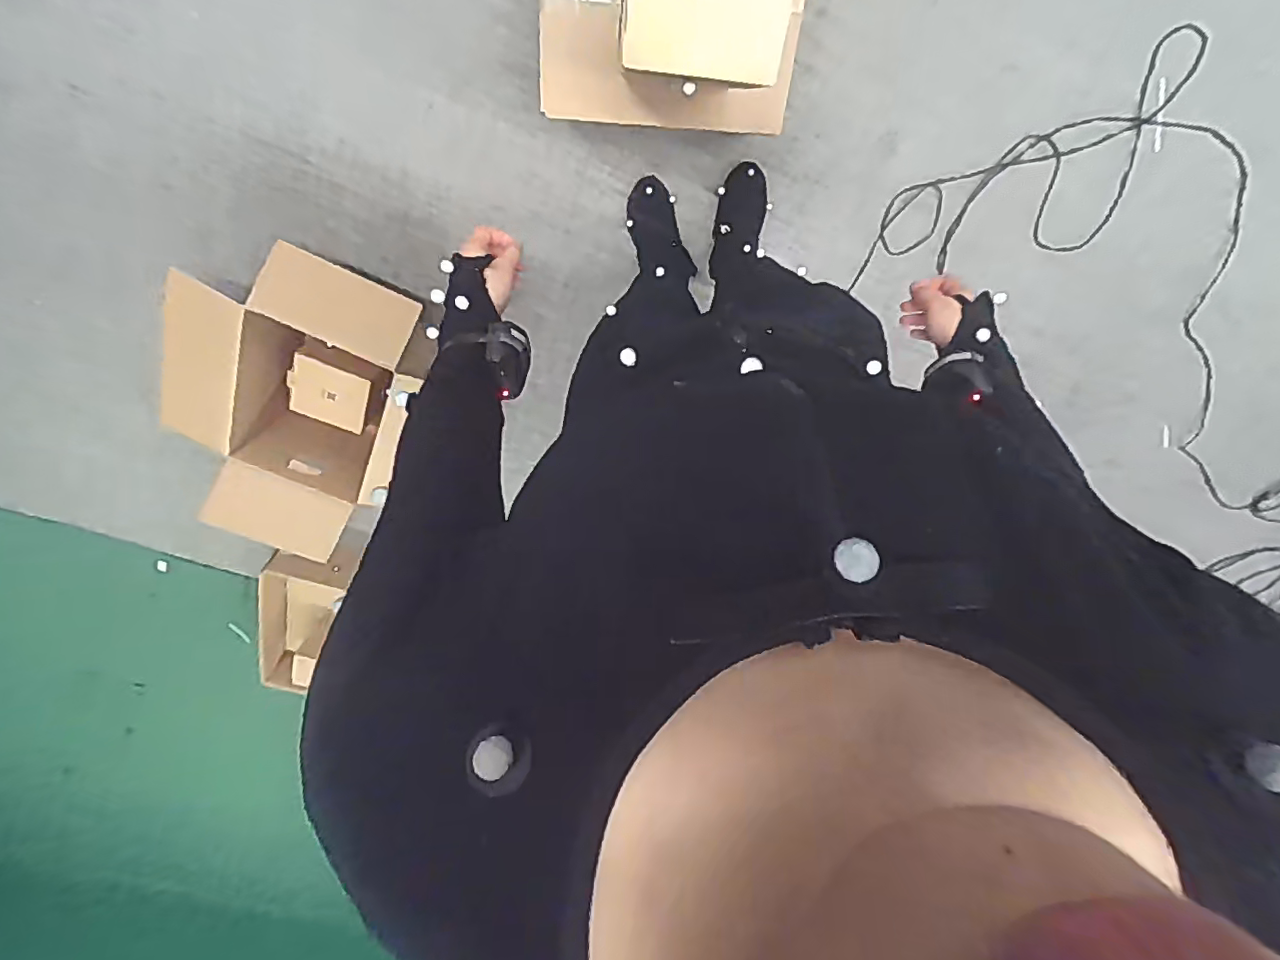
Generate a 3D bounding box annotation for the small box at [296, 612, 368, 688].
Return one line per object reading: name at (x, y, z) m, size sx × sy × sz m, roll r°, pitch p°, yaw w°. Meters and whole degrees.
small box at (-1.107, 0.612, 1.949) m, size 0.168 × 0.176 × 0.179 m, roll 19°, pitch 122°, yaw -10°

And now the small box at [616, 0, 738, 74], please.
small box at (0.063, -0.675, 0.748) m, size 0.179 × 0.176 × 0.168 m, roll 5°, pitch 126°, yaw -2°

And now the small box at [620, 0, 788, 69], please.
small box at (0.074, -0.581, 0.616) m, size 0.179 × 0.176 × 0.168 m, roll 5°, pitch 126°, yaw -2°
